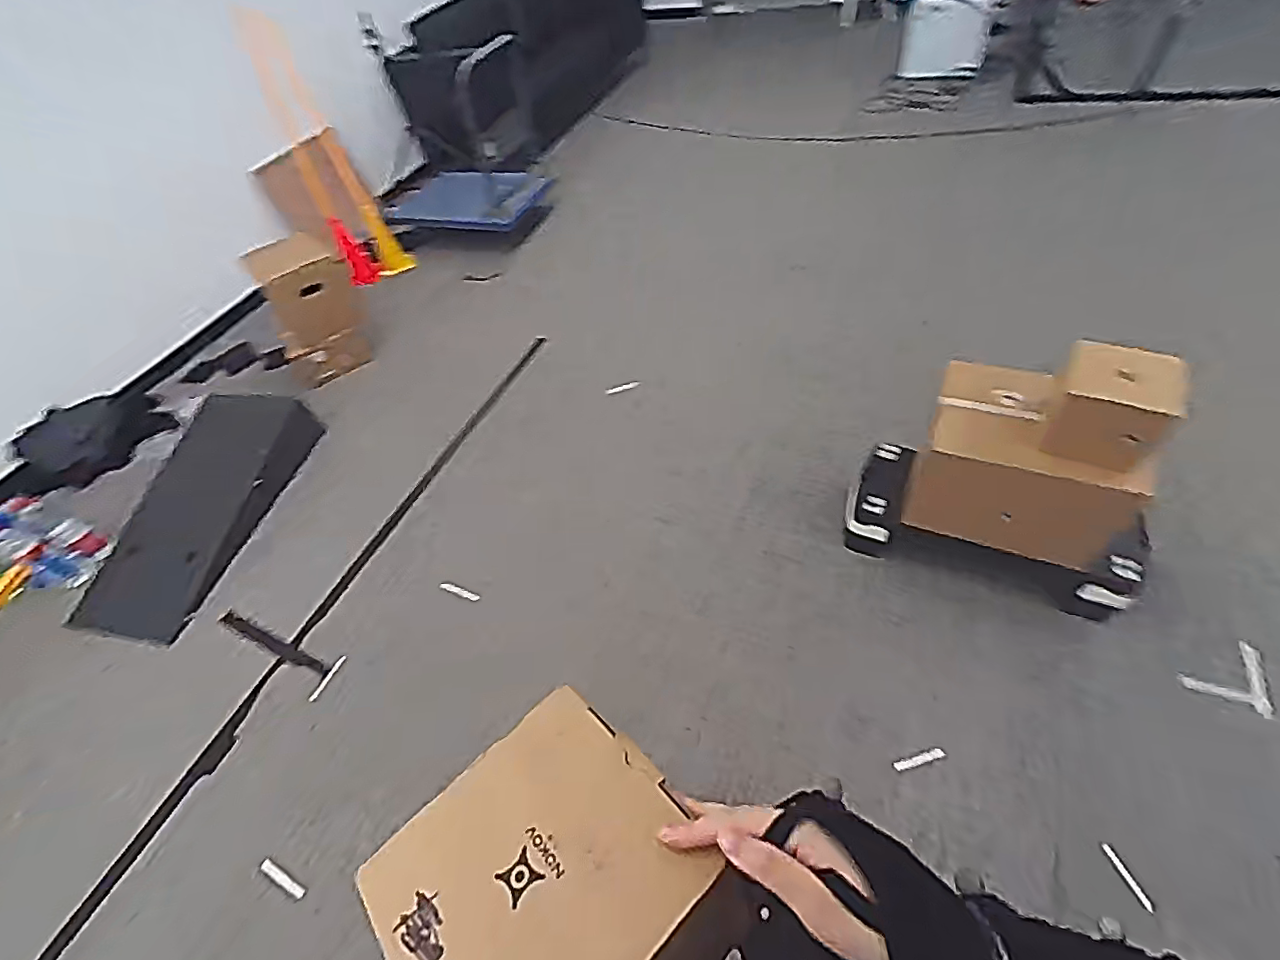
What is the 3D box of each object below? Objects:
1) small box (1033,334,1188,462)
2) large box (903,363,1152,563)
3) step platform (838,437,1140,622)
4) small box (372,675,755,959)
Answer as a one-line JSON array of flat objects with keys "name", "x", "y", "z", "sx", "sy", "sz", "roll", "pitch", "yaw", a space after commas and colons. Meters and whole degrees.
[{"name": "small box", "x": 0.928, "y": -0.159, "z": 1.077, "sx": 0.179, "sy": 0.176, "sz": 0.168, "roll": 20, "pitch": 60, "yaw": 26}, {"name": "large box", "x": 0.904, "y": -0.044, "z": 1.310, "sx": 0.408, "sy": 0.320, "sz": 0.320, "roll": 14, "pitch": 56, "yaw": 23}, {"name": "step platform", "x": 0.922, "y": 0.110, "z": 1.492, "sx": 0.684, "sy": 0.204, "sz": 0.286, "roll": 19, "pitch": 59, "yaw": 26}, {"name": "small box", "x": -0.039, "y": 0.282, "z": 0.368, "sx": 0.179, "sy": 0.176, "sz": 0.168, "roll": -35, "pitch": 42, "yaw": -25}]
